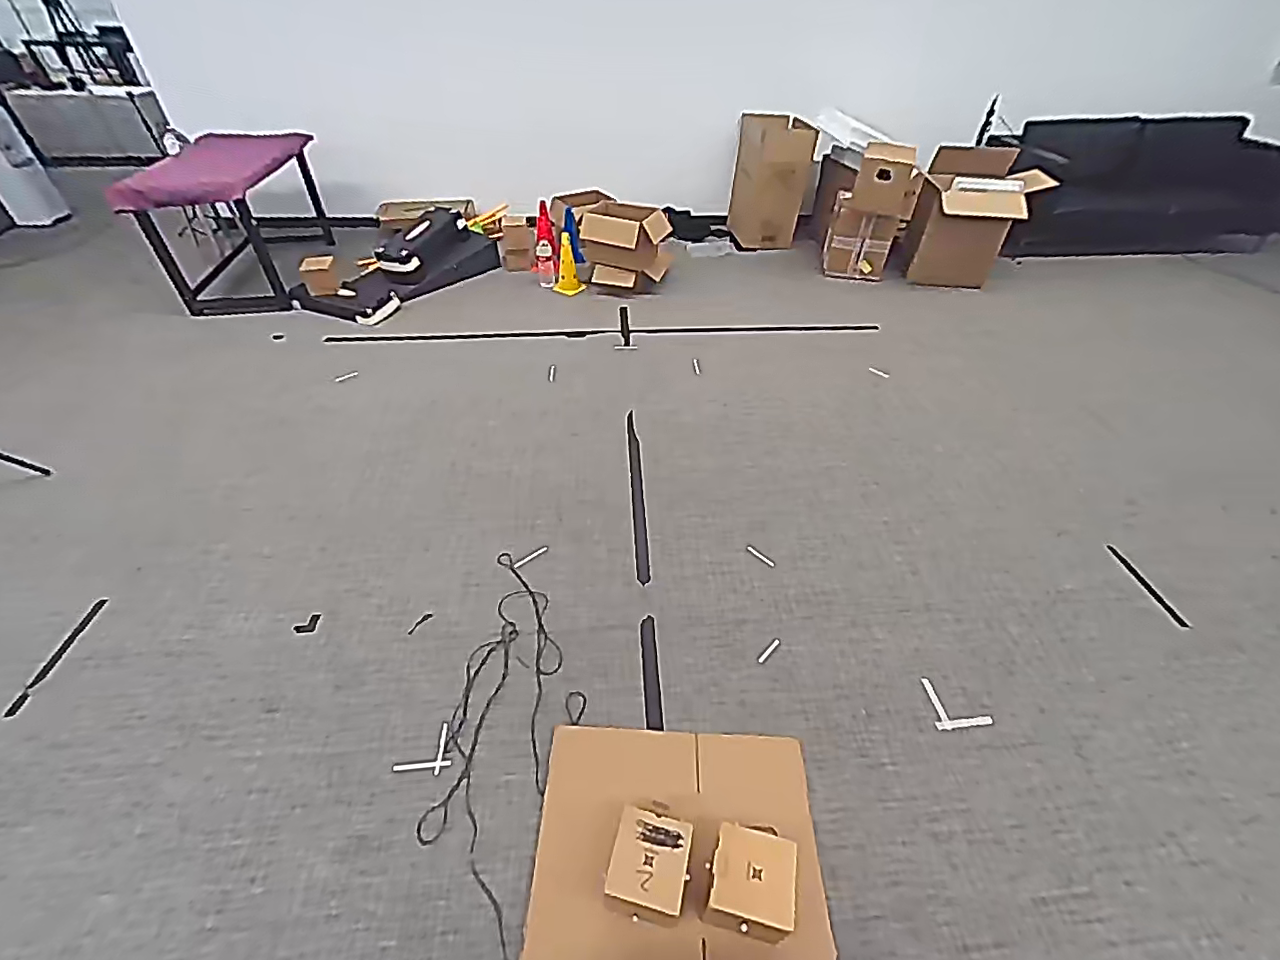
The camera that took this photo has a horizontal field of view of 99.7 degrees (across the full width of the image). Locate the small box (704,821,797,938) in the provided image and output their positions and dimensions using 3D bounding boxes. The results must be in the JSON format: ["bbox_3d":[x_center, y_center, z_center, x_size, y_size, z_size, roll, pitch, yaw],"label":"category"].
[{"bbox_3d":[0.252,0.918,1.238,0.179,0.176,0.168,10,44,10],"label":"small box"}]
